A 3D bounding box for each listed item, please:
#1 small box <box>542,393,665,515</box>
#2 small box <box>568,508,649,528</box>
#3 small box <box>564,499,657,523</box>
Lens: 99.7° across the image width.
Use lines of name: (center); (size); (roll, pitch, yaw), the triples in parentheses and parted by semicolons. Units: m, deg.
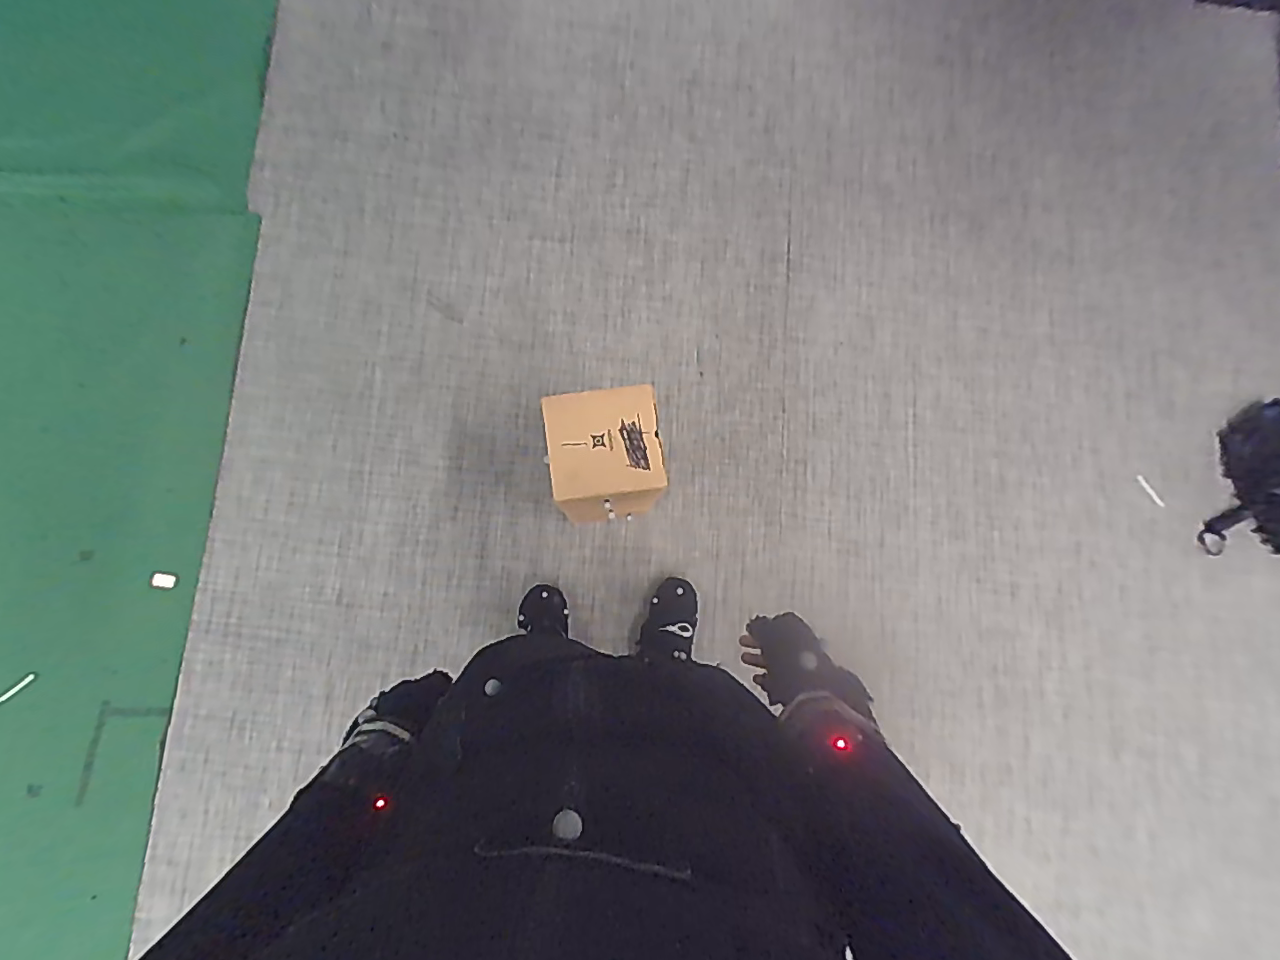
small box: (-0.062, -0.037, 0.910); (0.179, 0.176, 0.168); (-7, 82, -3)
small box: (-0.082, 0.015, 1.234); (0.179, 0.176, 0.168); (-9, 81, -3)
small box: (-0.071, -0.011, 1.075); (0.179, 0.176, 0.168); (-11, 83, -4)
